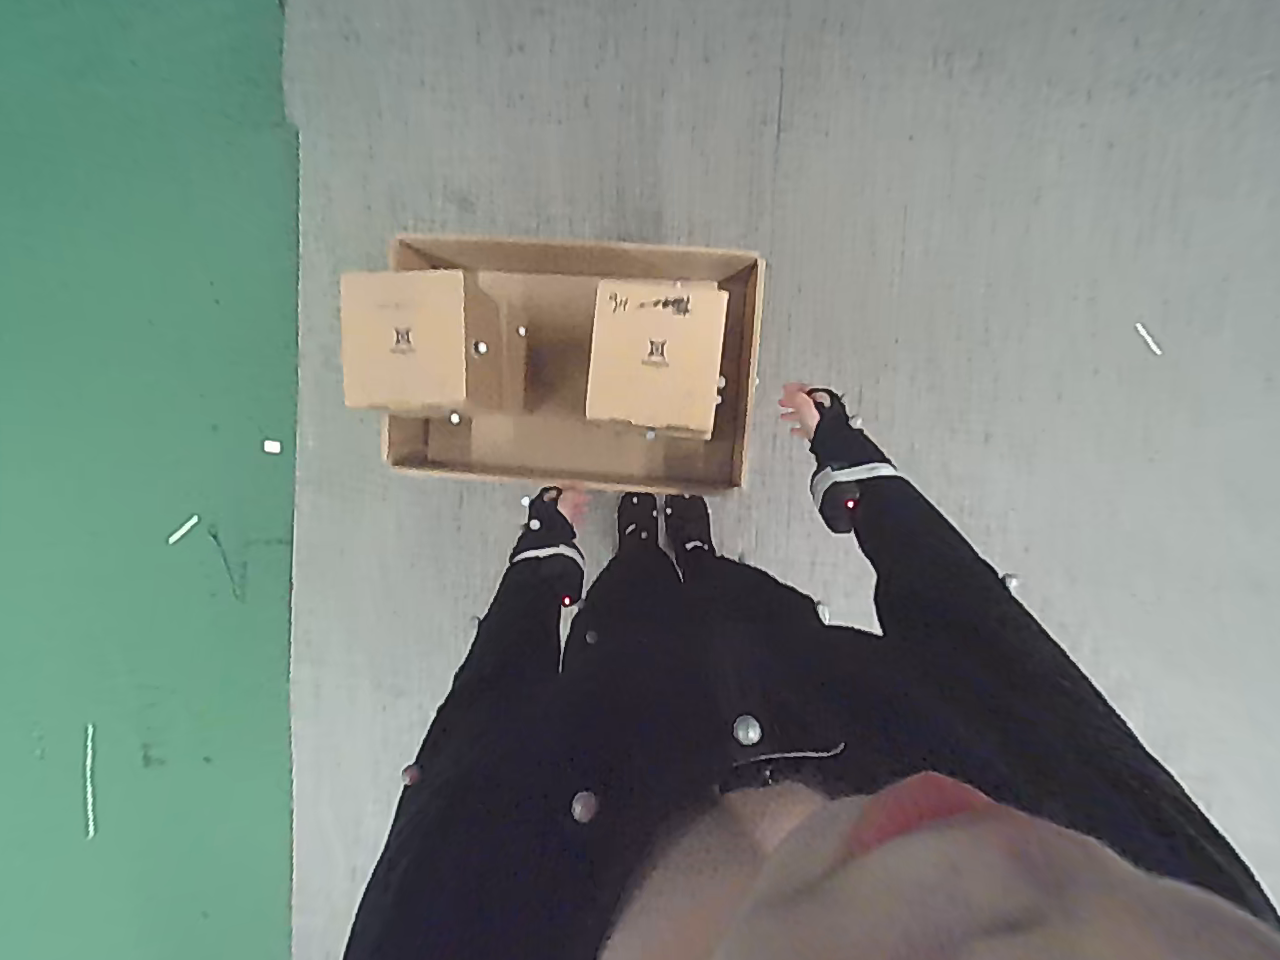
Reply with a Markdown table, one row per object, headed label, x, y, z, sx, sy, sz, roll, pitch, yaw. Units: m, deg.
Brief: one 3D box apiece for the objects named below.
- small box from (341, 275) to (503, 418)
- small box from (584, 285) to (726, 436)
| label | x | y | z | sx | sy | sz | roll | pitch | yaw |
| --- | --- | --- | --- | --- | --- | --- | --- | --- | --- |
| small box | -0.301 | -0.181 | 0.779 | 0.168 | 0.176 | 0.179 | 0 | 93 | 3 |
| small box | 0.023 | -0.156 | 0.756 | 0.168 | 0.176 | 0.179 | 6 | 94 | 3 |
